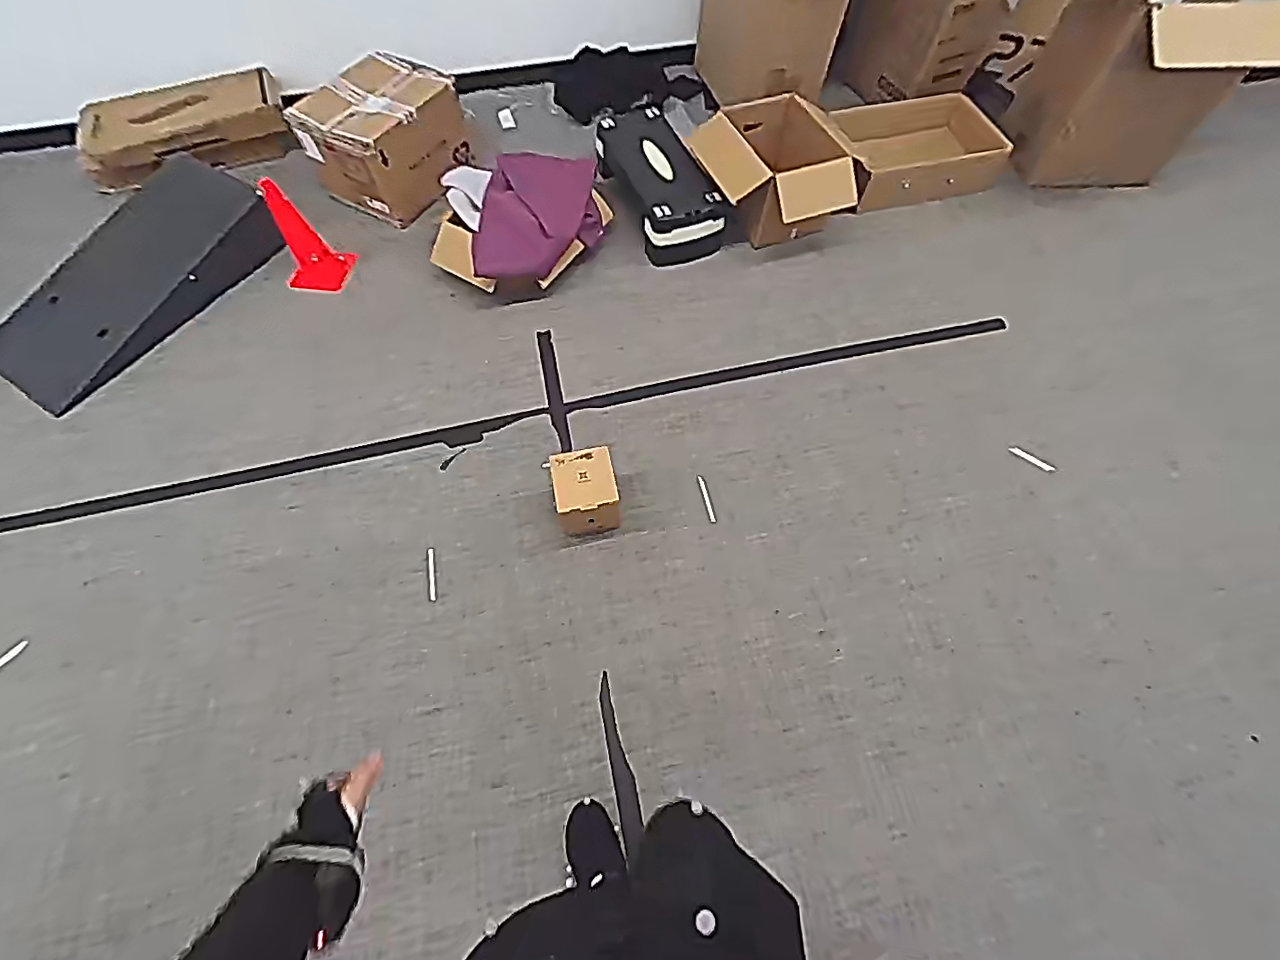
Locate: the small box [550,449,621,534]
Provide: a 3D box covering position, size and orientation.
[{"bbox_3d":[-0.149,0.040,1.509,0.168,0.176,0.179,-11,64,-6],"label":"small box"}]
